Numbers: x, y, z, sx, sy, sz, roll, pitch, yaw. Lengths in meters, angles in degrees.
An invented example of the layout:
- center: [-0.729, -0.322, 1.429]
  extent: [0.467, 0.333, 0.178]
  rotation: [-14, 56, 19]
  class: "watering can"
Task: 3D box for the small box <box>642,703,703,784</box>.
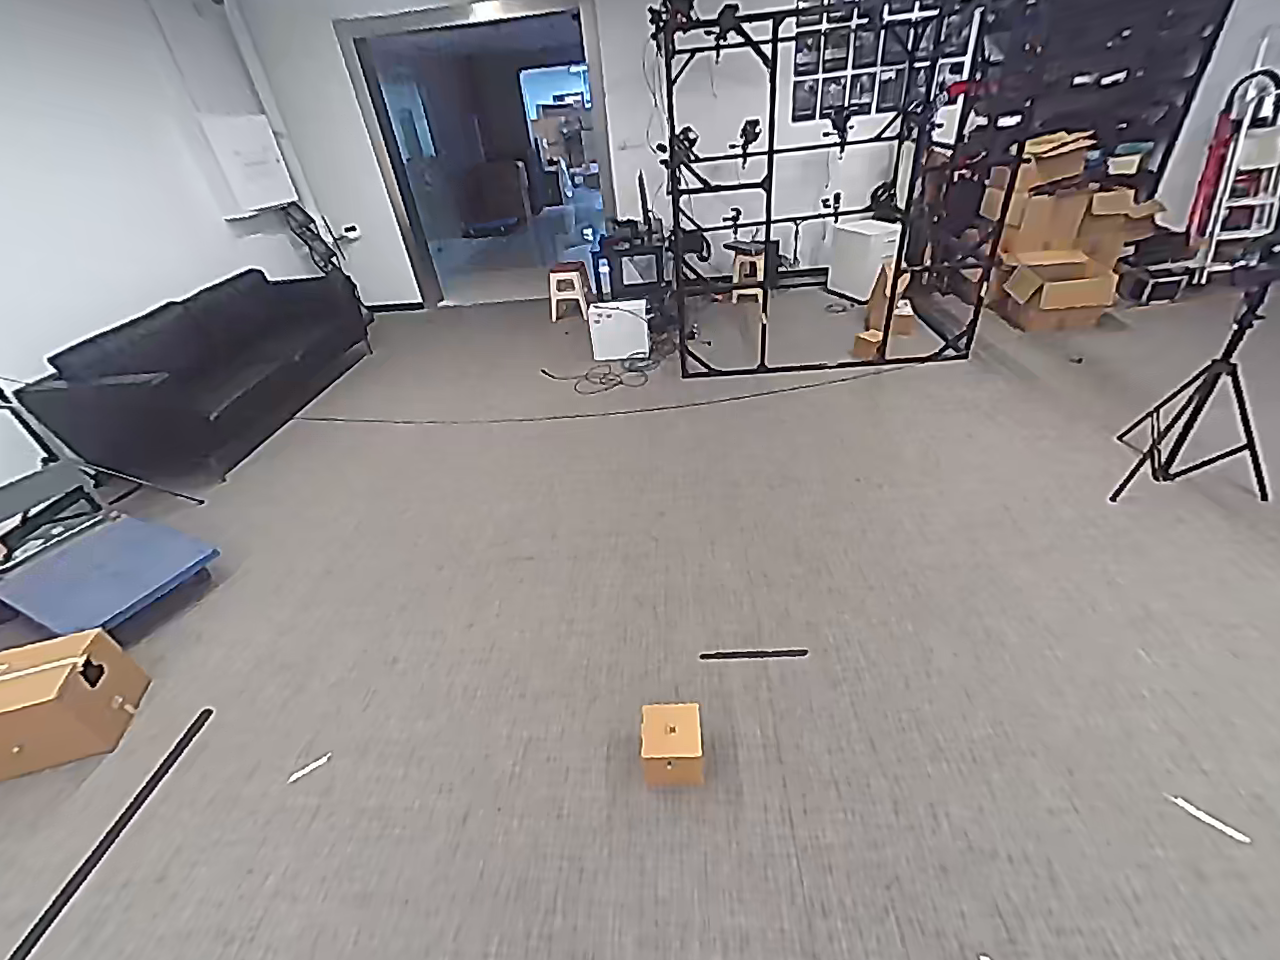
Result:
- center: [0.102, 0.805, 1.650]
  extent: [0.179, 0.176, 0.168]
  rotation: [-5, 35, 5]
  class: "small box"
